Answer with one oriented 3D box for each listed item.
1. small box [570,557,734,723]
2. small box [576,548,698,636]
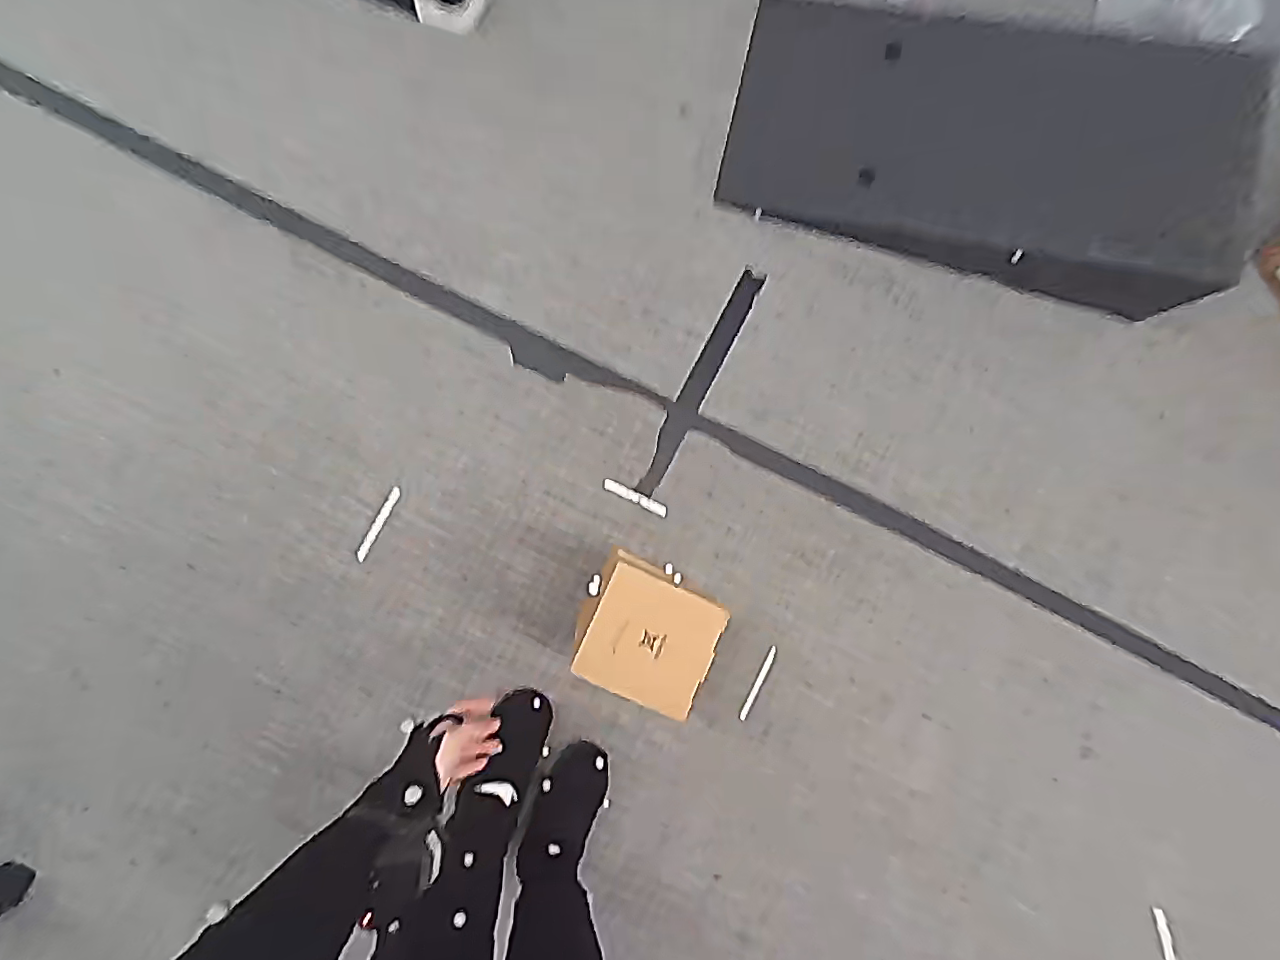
[{"bbox_3d":[0.012,0.224,0.810,0.179,0.176,0.168,26,84,-2],"label":"small box"},{"bbox_3d":[0.000,0.232,0.973,0.179,0.176,0.168,28,85,-4],"label":"small box"}]
